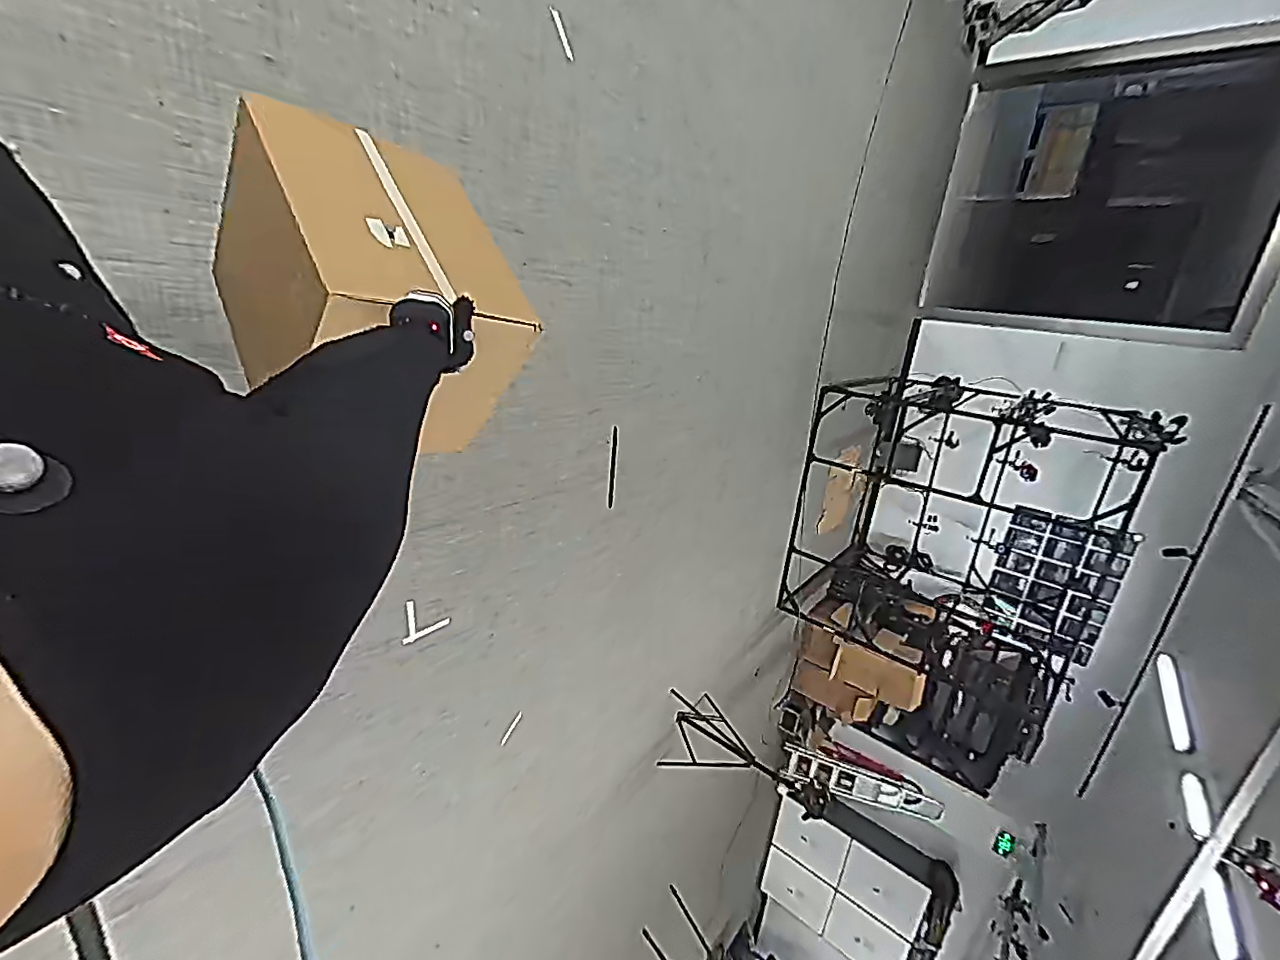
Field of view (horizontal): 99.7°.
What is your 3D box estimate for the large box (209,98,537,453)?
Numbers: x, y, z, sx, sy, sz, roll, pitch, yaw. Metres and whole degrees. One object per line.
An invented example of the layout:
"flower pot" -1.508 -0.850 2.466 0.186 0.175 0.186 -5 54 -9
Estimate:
"large box" -0.446 -0.296 0.886 0.320 0.408 0.320 -8 152 -50
